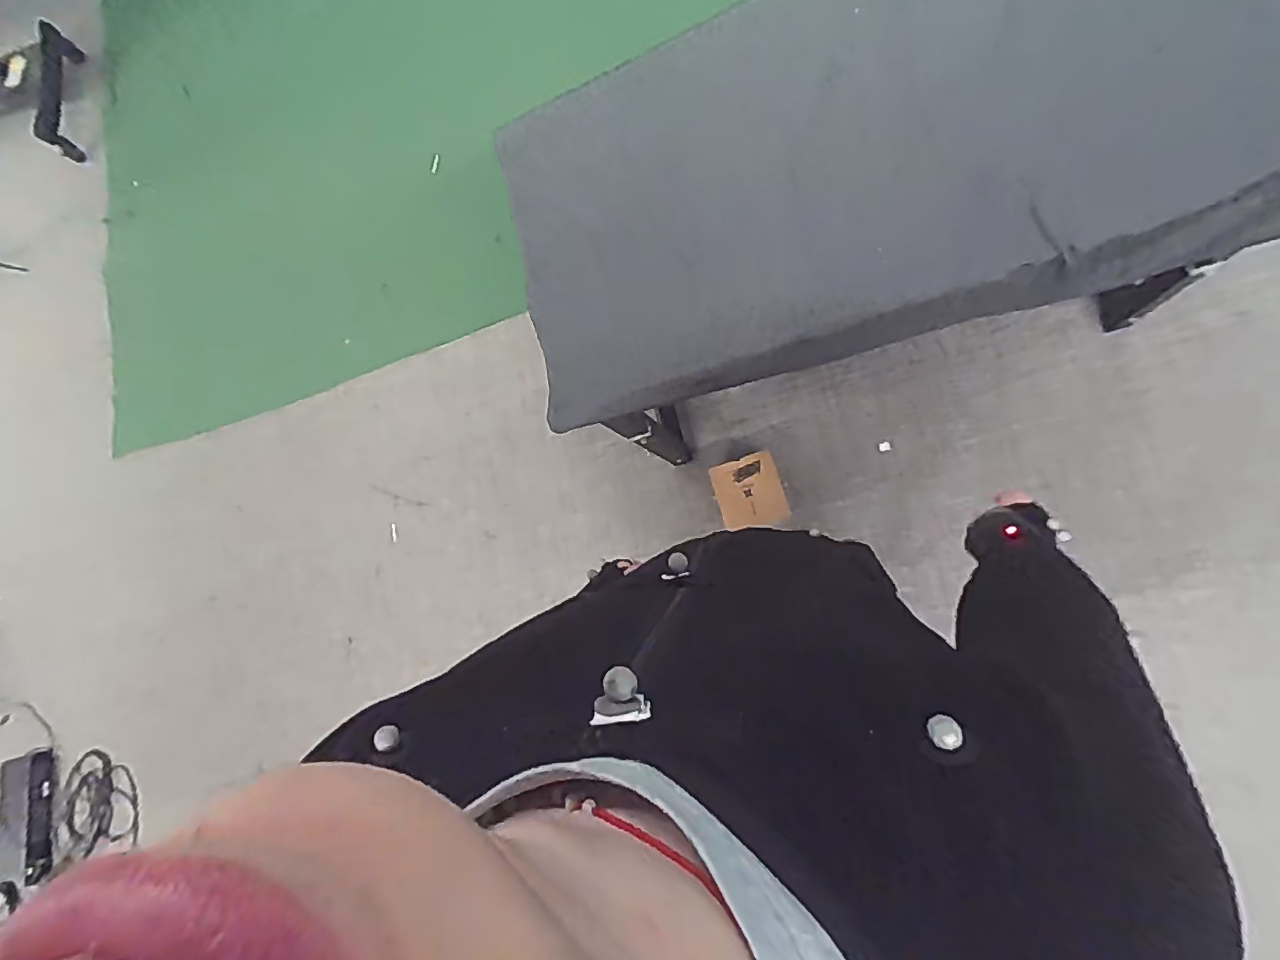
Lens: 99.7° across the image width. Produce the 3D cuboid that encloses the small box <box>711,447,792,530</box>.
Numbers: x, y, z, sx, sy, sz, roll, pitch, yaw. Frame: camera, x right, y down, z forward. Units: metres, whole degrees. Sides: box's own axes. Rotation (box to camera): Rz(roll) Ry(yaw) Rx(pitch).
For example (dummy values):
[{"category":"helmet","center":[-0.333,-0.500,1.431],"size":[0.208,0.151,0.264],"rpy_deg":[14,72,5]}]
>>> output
[{"category":"small box","center":[0.302,0.030,1.447],"size":[0.168,0.176,0.179],"rpy_deg":[-18,80,15]}]
